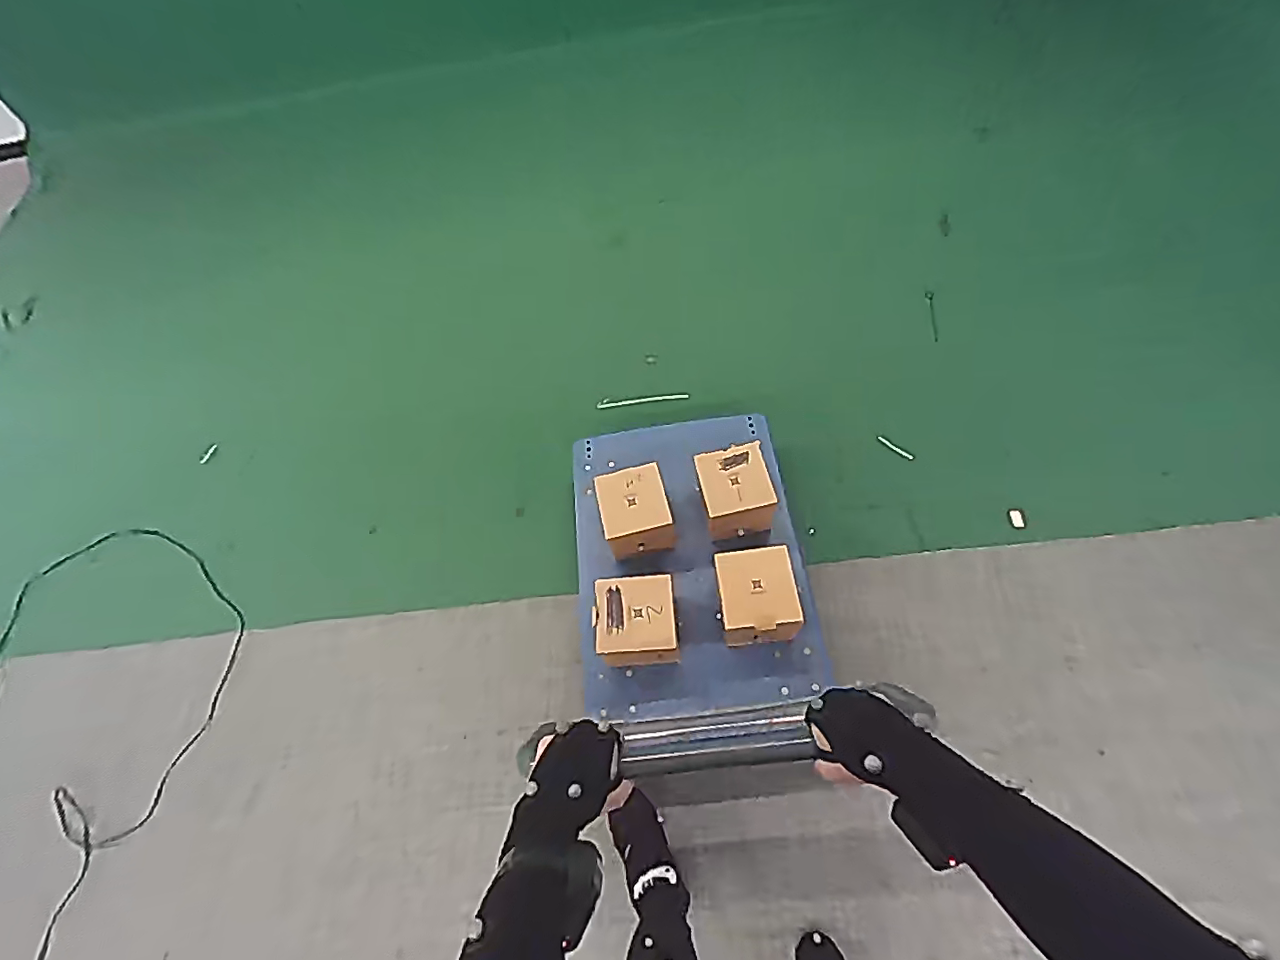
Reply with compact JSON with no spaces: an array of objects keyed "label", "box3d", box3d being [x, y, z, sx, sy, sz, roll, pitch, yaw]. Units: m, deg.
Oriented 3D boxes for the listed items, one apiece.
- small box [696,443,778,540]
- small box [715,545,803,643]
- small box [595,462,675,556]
[{"label":"small box","box3d":[0.240,0.033,1.381,0.168,0.176,0.179,-12,62,2]},{"label":"small box","box3d":[0.267,0.268,1.256,0.168,0.176,0.179,-8,62,4]},{"label":"small box","box3d":[-0.008,0.082,1.387,0.168,0.176,0.179,-13,62,0]}]
